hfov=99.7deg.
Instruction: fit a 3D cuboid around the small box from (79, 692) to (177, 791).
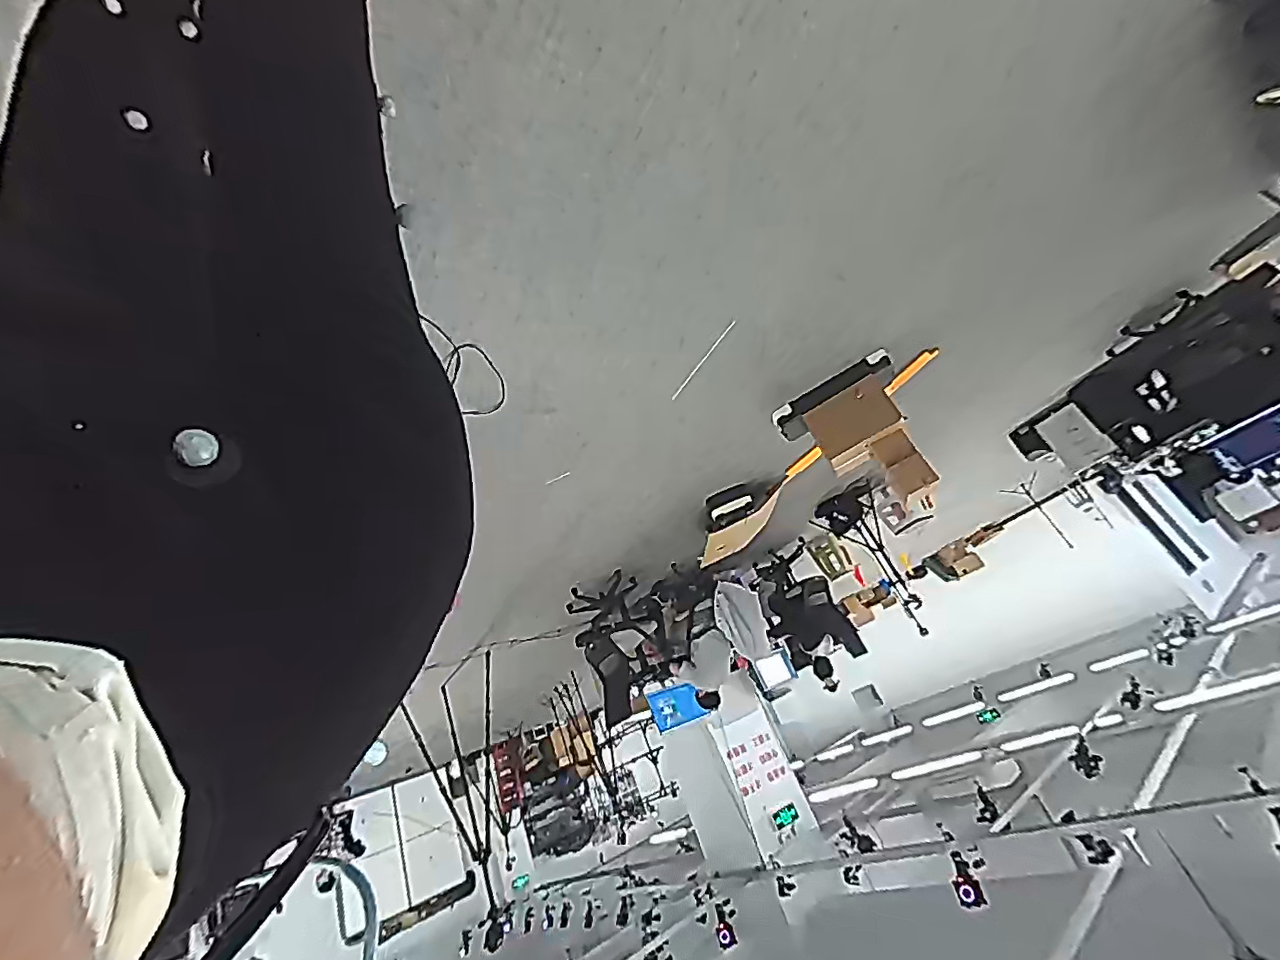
[{"bbox_3d":[-1.297,0.663,1.382,0.168,0.176,0.179,-3,148,-38],"label":"small box"}]
